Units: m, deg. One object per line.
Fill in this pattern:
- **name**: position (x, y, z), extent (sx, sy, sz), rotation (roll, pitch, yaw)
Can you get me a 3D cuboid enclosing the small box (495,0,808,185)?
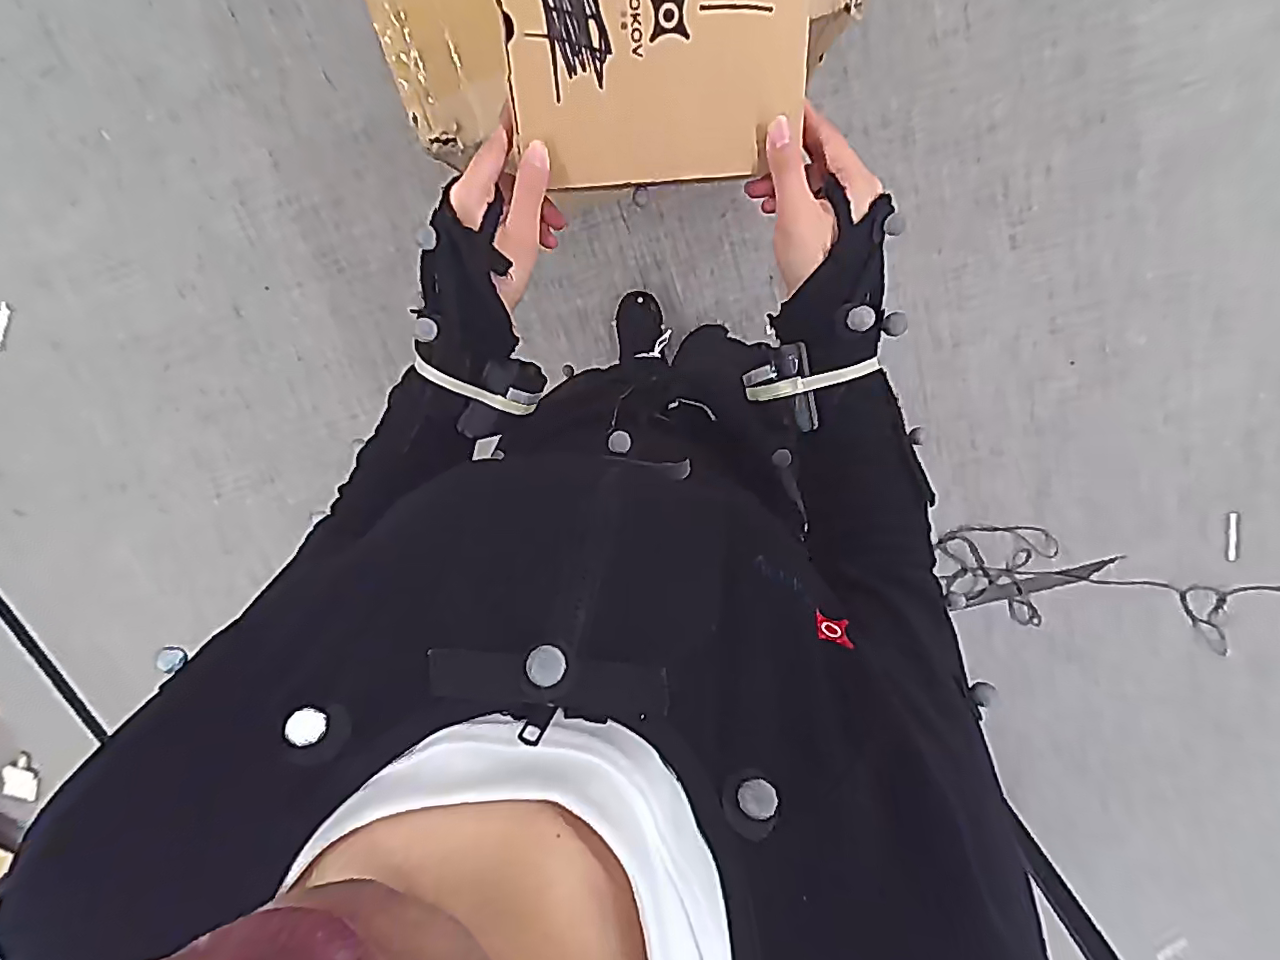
- **small box**: position (0.007, -0.301, 0.368), extent (0.179, 0.176, 0.168), rotation (-3, 118, 2)
